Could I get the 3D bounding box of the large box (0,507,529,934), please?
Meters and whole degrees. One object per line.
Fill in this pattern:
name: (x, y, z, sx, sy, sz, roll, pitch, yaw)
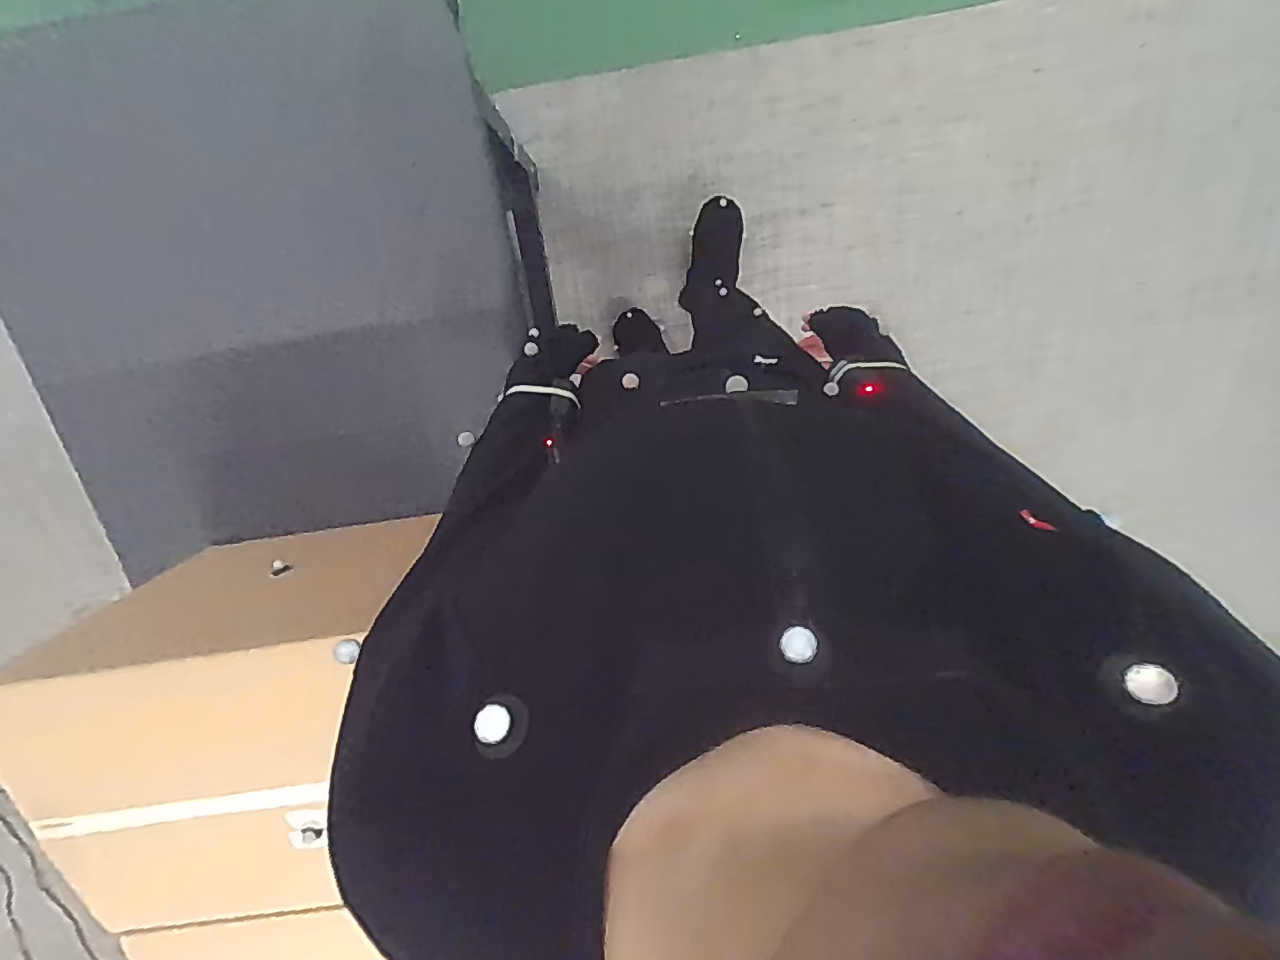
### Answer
large box: (-0.385, 0.251, 0.653, 0.408, 0.320, 0.320, -9, 108, 1)
